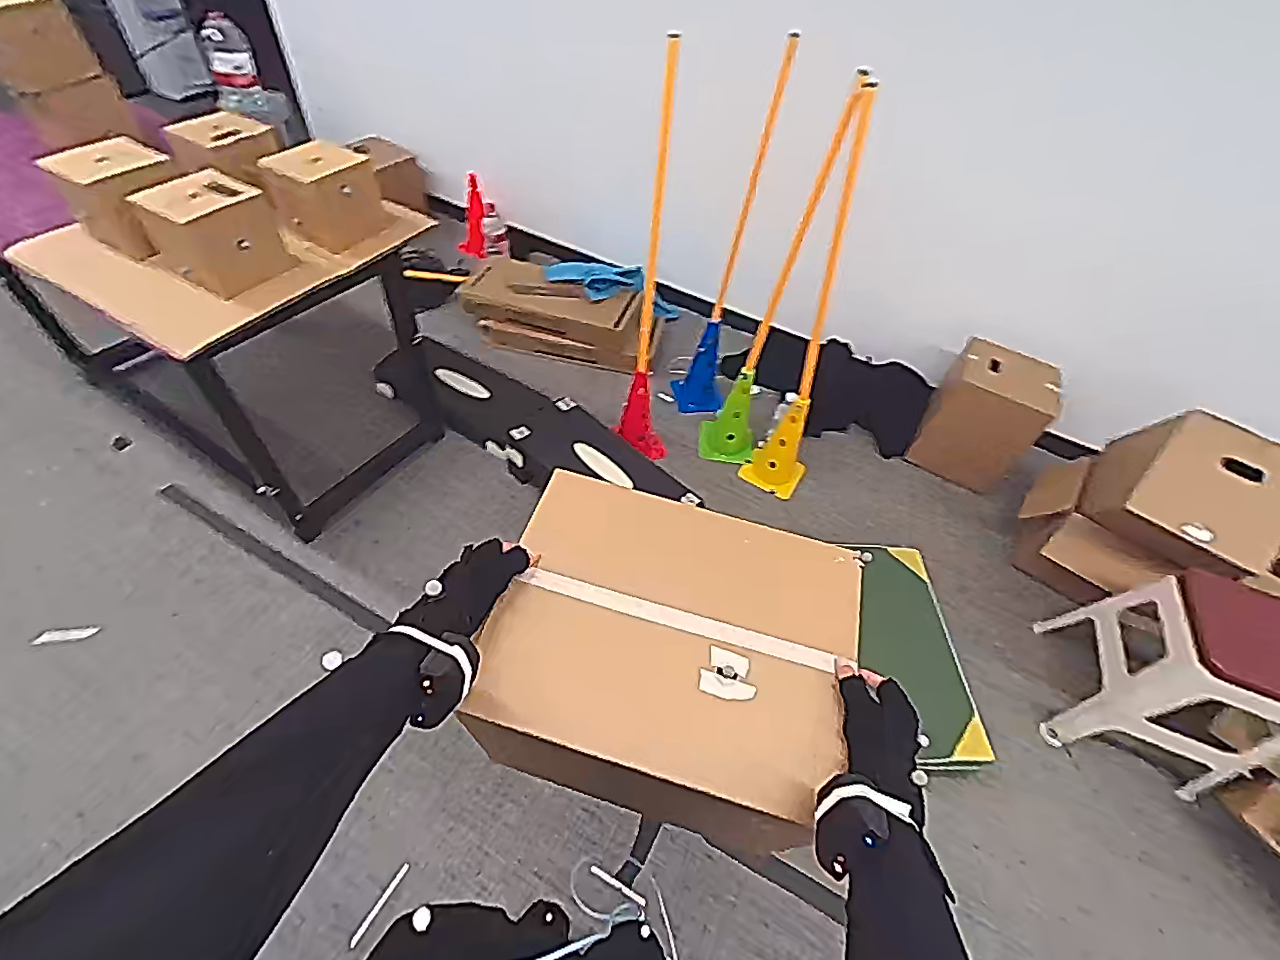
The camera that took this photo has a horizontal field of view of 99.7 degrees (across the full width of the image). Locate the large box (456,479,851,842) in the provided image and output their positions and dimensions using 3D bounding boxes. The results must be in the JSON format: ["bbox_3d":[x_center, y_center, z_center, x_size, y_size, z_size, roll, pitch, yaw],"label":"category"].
[{"bbox_3d":[0.026,0.250,0.737,0.408,0.320,0.320,16,54,6],"label":"large box"}]
